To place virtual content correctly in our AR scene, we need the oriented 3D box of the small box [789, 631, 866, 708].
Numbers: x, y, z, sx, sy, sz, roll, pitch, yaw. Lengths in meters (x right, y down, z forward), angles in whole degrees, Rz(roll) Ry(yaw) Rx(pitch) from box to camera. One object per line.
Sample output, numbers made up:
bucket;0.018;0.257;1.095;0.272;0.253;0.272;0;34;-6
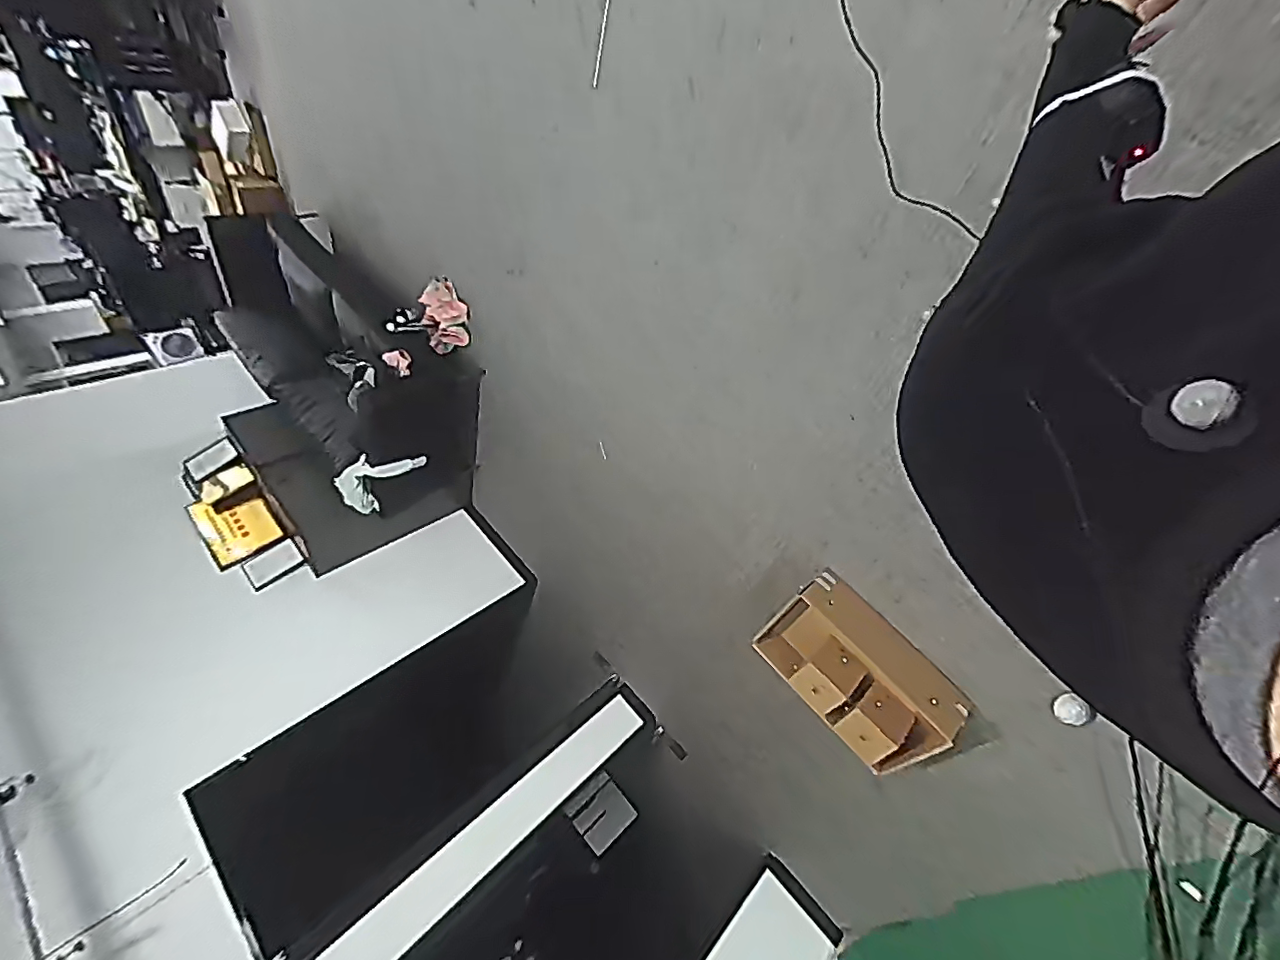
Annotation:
small box;0.679;0.683;1.953;0.168;0.176;0.179;44;139;19
